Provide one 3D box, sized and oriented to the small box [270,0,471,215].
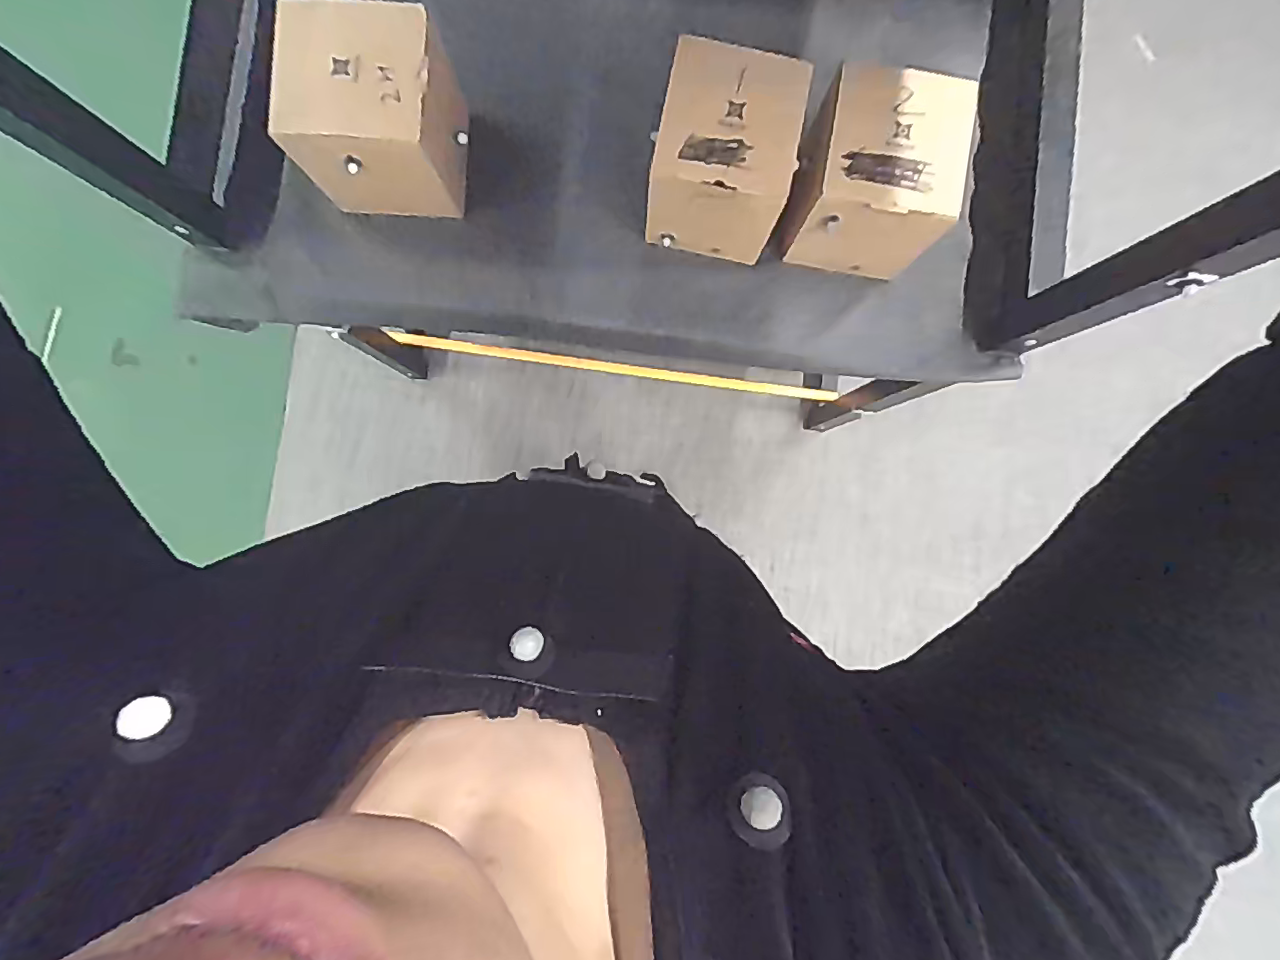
[{"bbox_3d":[-0.336,-0.469,0.704,0.179,0.176,0.168,3,88,-2],"label":"small box"}]
